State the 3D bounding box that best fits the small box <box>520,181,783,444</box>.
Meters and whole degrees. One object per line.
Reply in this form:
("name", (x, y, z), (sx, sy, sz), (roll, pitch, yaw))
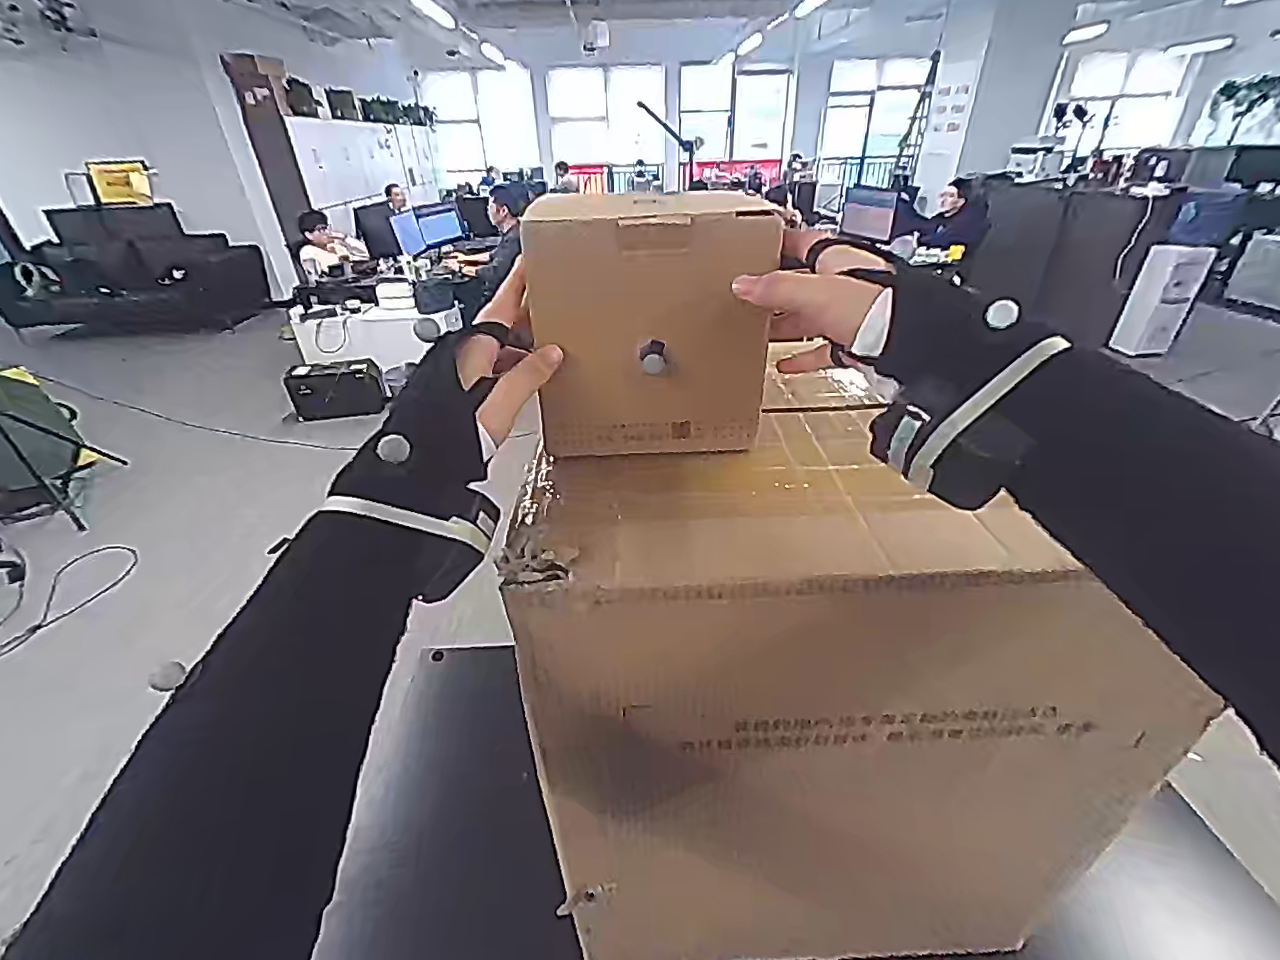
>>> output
("small box", (0.006, -0.137, 0.439), (0.168, 0.176, 0.179), (-3, 33, -2))
